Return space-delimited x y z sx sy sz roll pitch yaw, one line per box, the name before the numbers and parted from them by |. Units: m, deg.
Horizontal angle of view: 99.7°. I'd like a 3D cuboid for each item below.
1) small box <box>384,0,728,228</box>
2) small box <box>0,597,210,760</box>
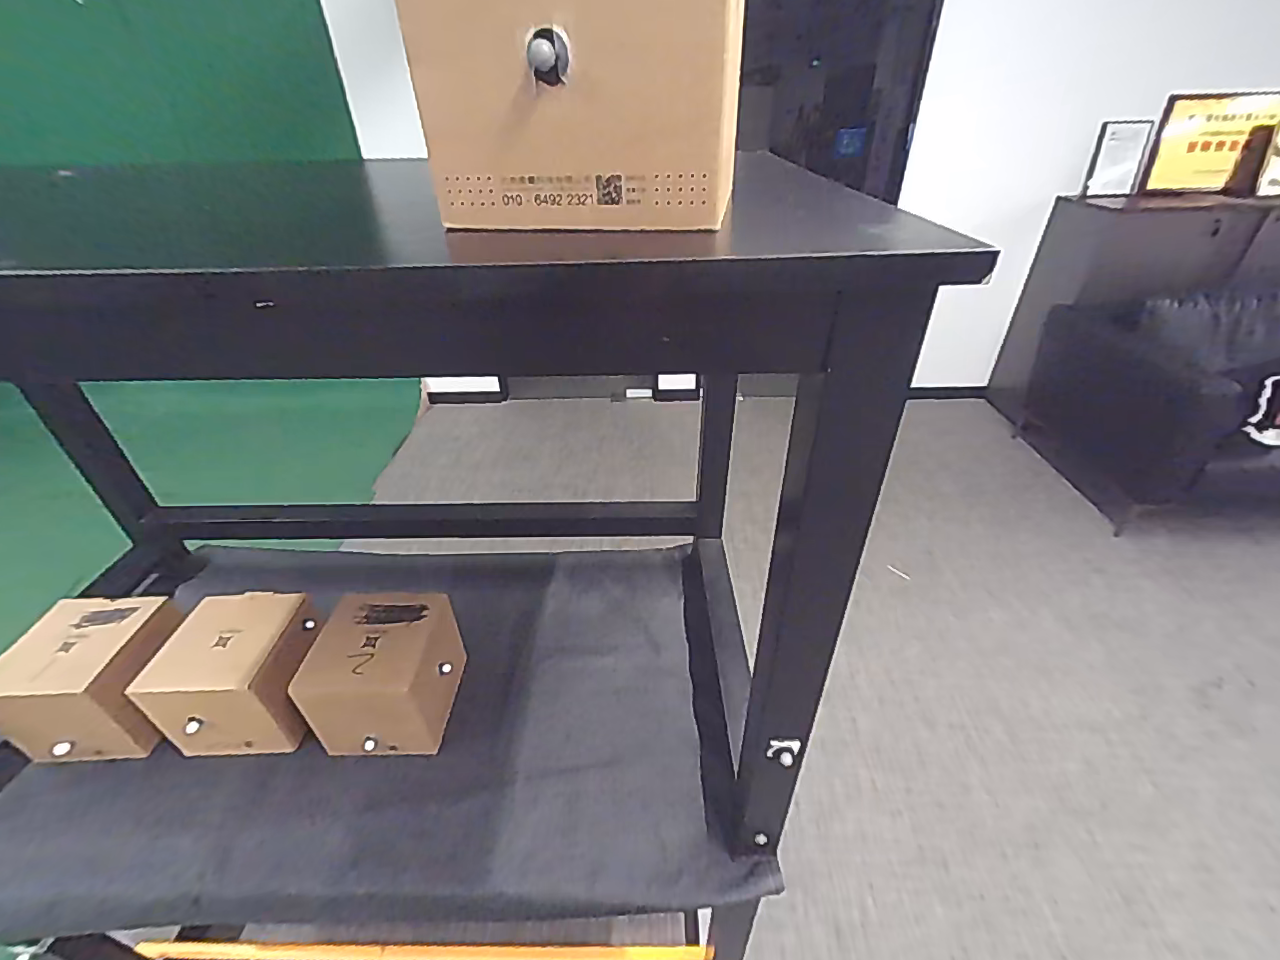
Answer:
small box | -0.033 -0.259 0.334 0.168 0.176 0.179 5 35 9
small box | -0.821 0.305 0.838 0.168 0.176 0.179 -2 35 -1
